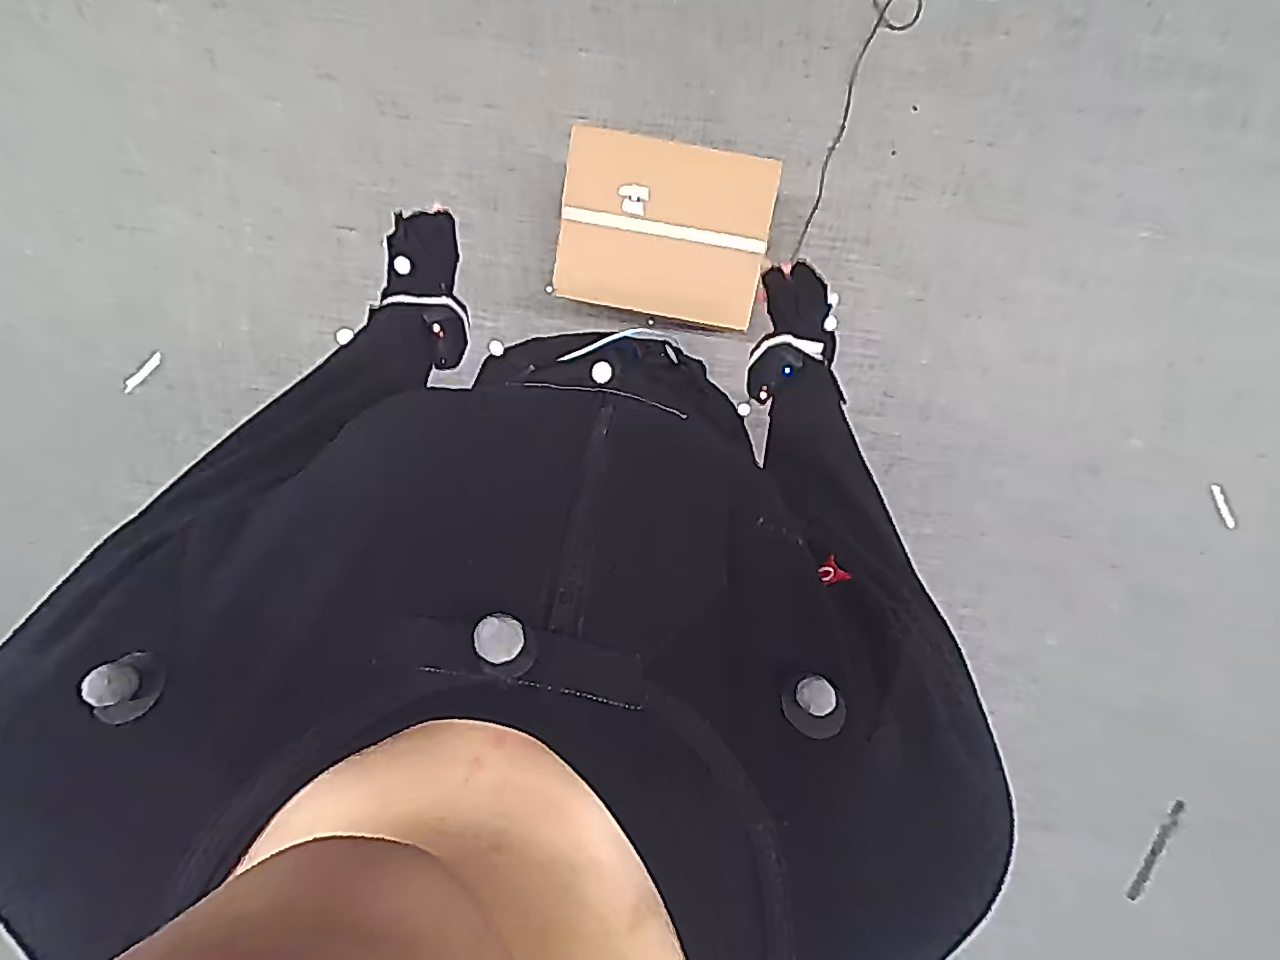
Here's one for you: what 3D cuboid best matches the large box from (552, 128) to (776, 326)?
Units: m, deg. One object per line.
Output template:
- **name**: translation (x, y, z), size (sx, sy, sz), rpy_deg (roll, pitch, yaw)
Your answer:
- **large box**: translation (0.049, -0.529, 1.202), size (0.408, 0.320, 0.320), rpy_deg (11, 105, 0)
